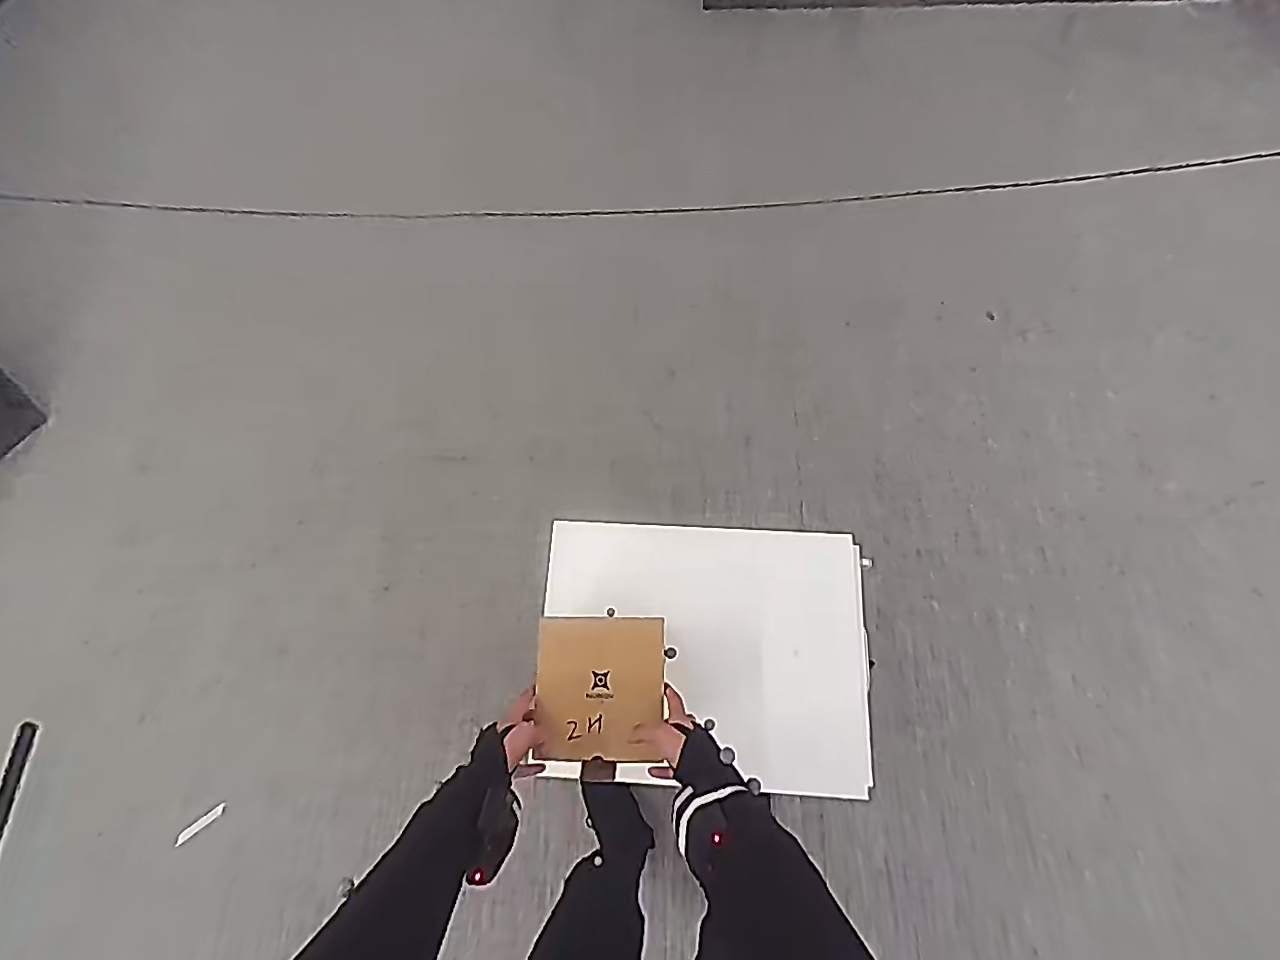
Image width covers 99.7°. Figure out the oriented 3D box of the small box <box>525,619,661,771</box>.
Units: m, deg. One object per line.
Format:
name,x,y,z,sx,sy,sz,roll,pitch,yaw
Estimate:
small box,-0.055,0.288,0.753,0.168,0.176,0.179,0,75,2
